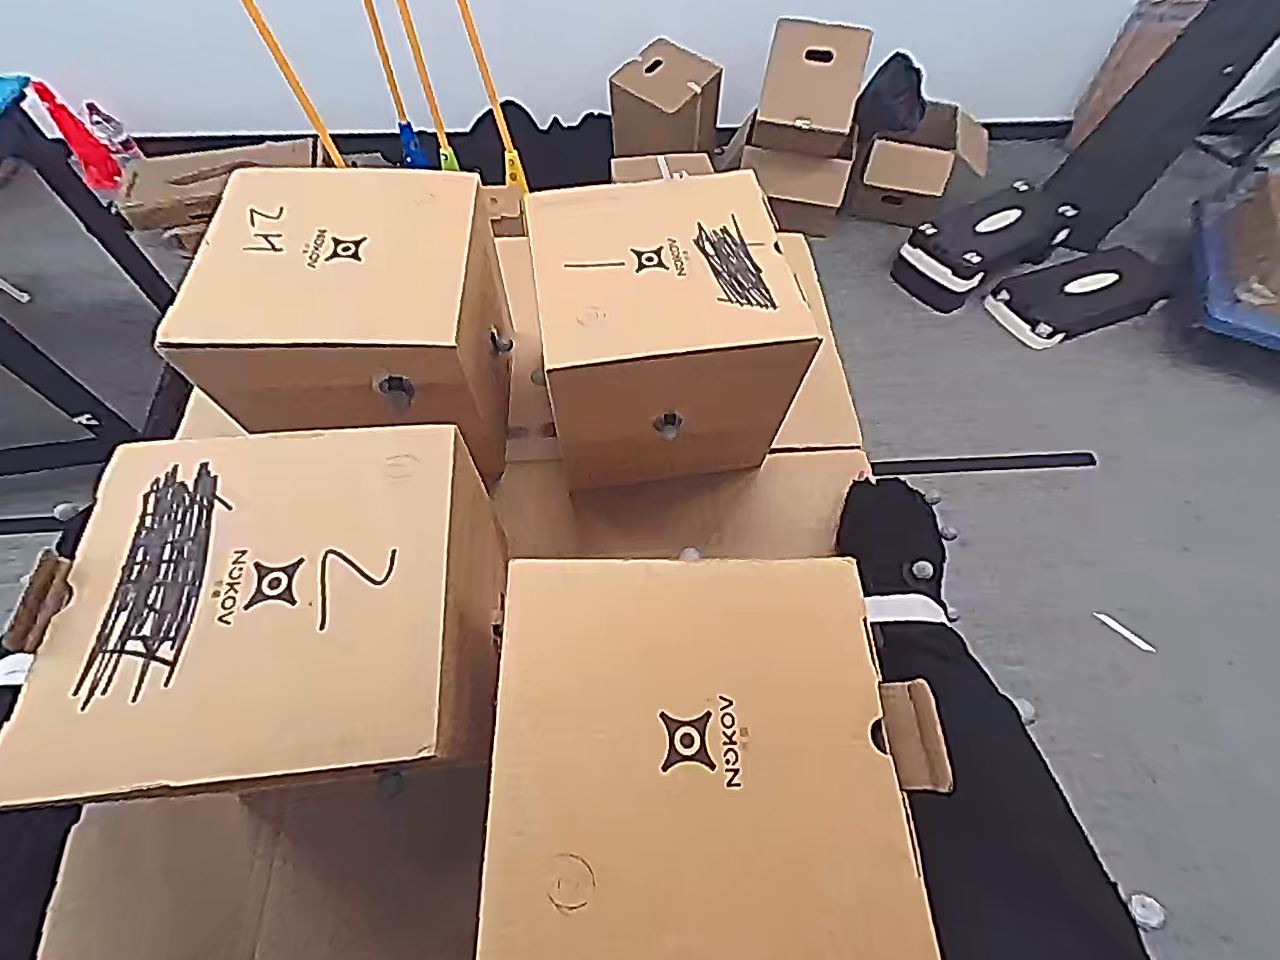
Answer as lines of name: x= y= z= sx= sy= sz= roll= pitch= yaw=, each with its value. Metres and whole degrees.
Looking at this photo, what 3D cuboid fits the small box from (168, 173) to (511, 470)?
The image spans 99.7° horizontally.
small box: x=-0.208 y=-0.117 z=0.441 sx=0.179 sy=0.176 sz=0.168 roll=-1 pitch=62 yaw=-3
